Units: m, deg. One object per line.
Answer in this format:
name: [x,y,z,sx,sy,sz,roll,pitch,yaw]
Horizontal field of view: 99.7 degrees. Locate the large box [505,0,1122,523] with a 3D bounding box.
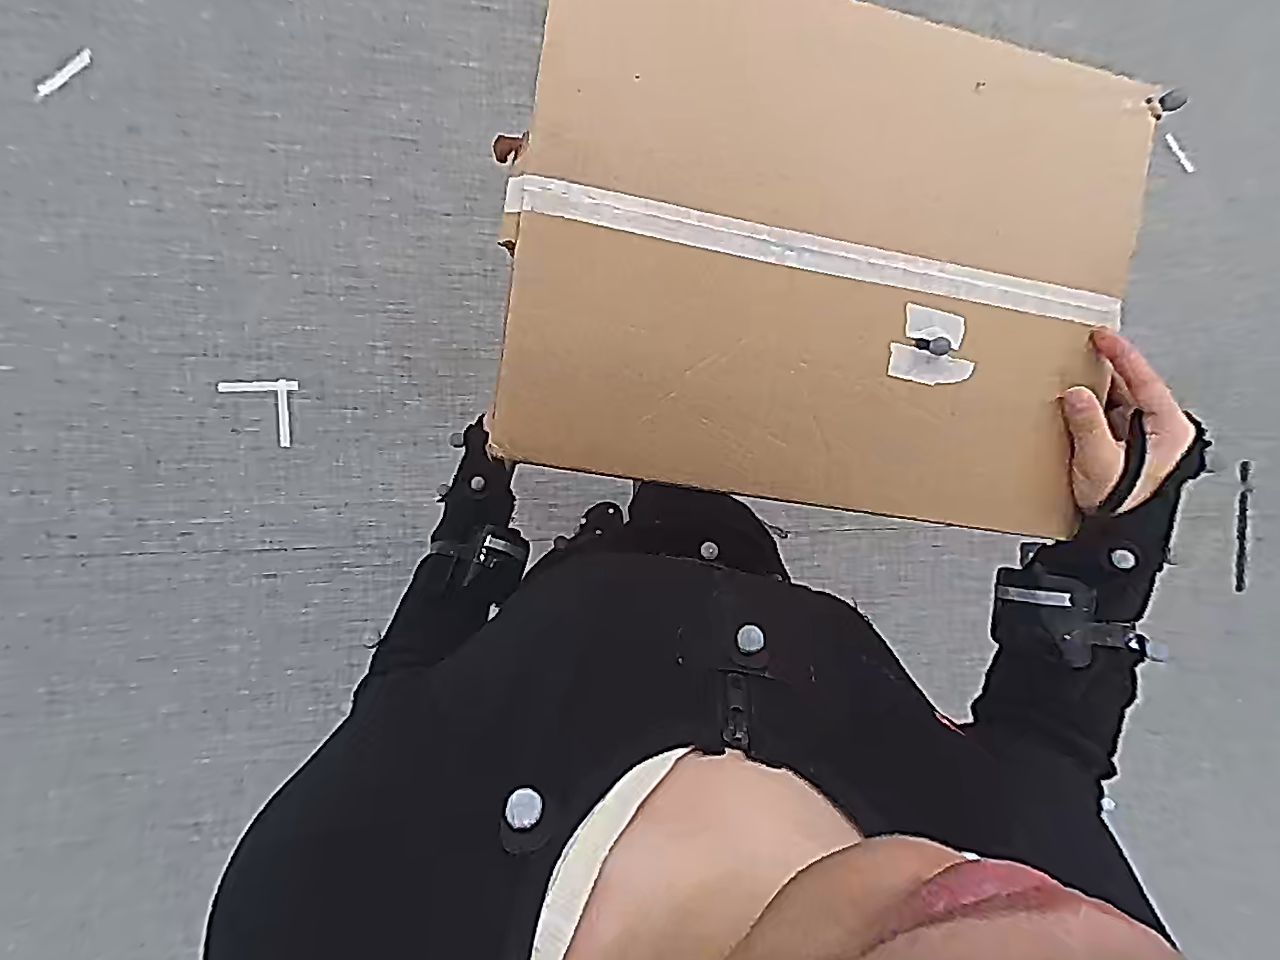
large box: [0.104,-0.151,0.504,0.408,0.320,0.320,8,94,-9]
